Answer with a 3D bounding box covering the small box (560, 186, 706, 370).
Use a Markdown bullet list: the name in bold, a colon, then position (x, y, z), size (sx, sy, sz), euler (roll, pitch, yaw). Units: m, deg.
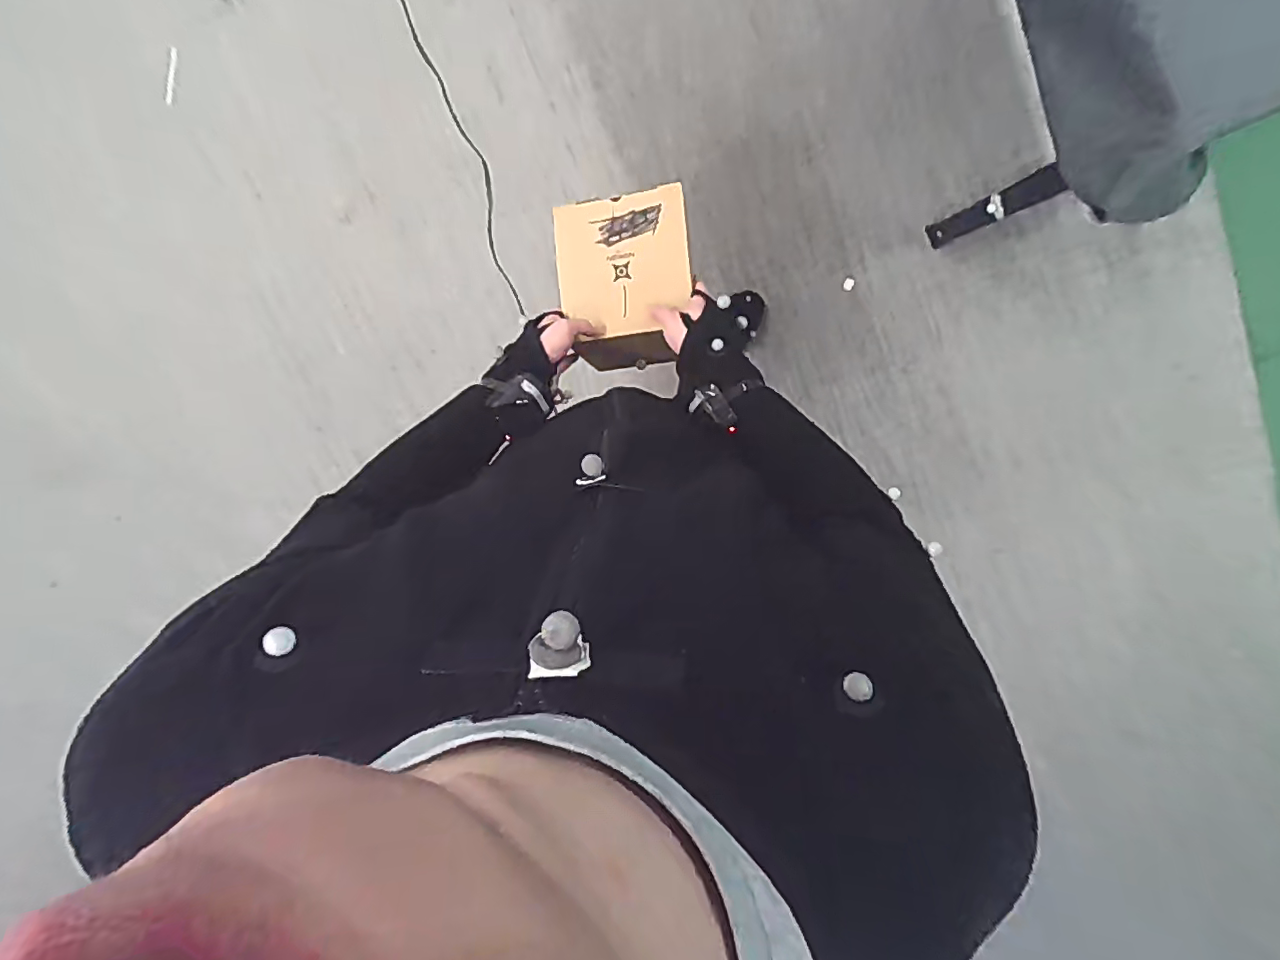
- **small box**: position (-0.001, -0.264, 0.746), size (0.168, 0.176, 0.179), euler (-6, 89, 10)
